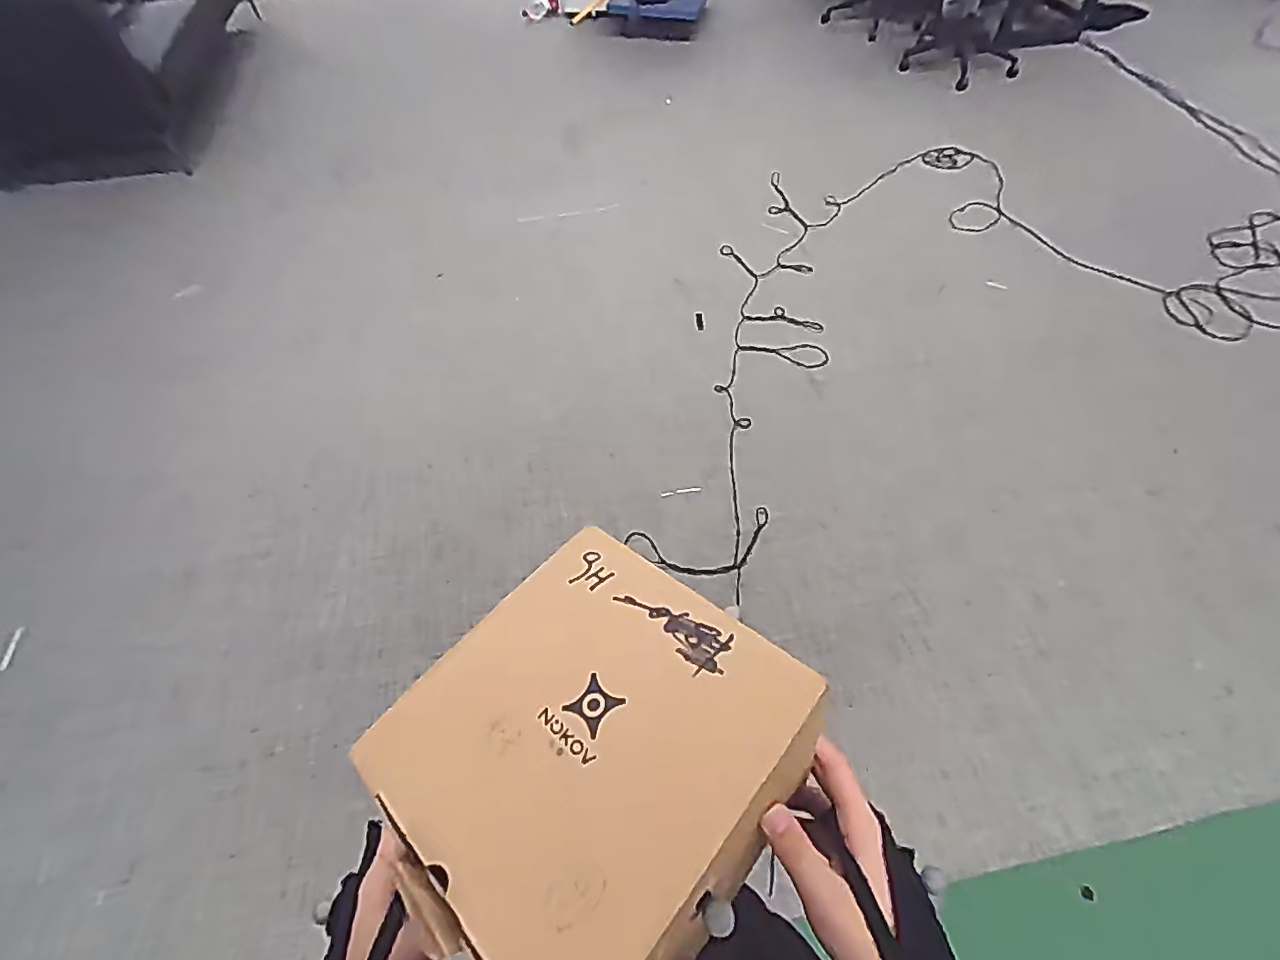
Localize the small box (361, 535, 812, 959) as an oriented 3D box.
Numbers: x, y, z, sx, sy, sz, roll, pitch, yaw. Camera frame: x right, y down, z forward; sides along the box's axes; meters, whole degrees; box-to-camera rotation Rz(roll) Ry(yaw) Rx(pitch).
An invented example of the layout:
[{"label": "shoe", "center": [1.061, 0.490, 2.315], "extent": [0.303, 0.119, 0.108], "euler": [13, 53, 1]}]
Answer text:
[{"label": "small box", "center": [-0.015, 0.174, 0.324], "extent": [0.168, 0.176, 0.179], "euler": [29, 61, 33]}]
